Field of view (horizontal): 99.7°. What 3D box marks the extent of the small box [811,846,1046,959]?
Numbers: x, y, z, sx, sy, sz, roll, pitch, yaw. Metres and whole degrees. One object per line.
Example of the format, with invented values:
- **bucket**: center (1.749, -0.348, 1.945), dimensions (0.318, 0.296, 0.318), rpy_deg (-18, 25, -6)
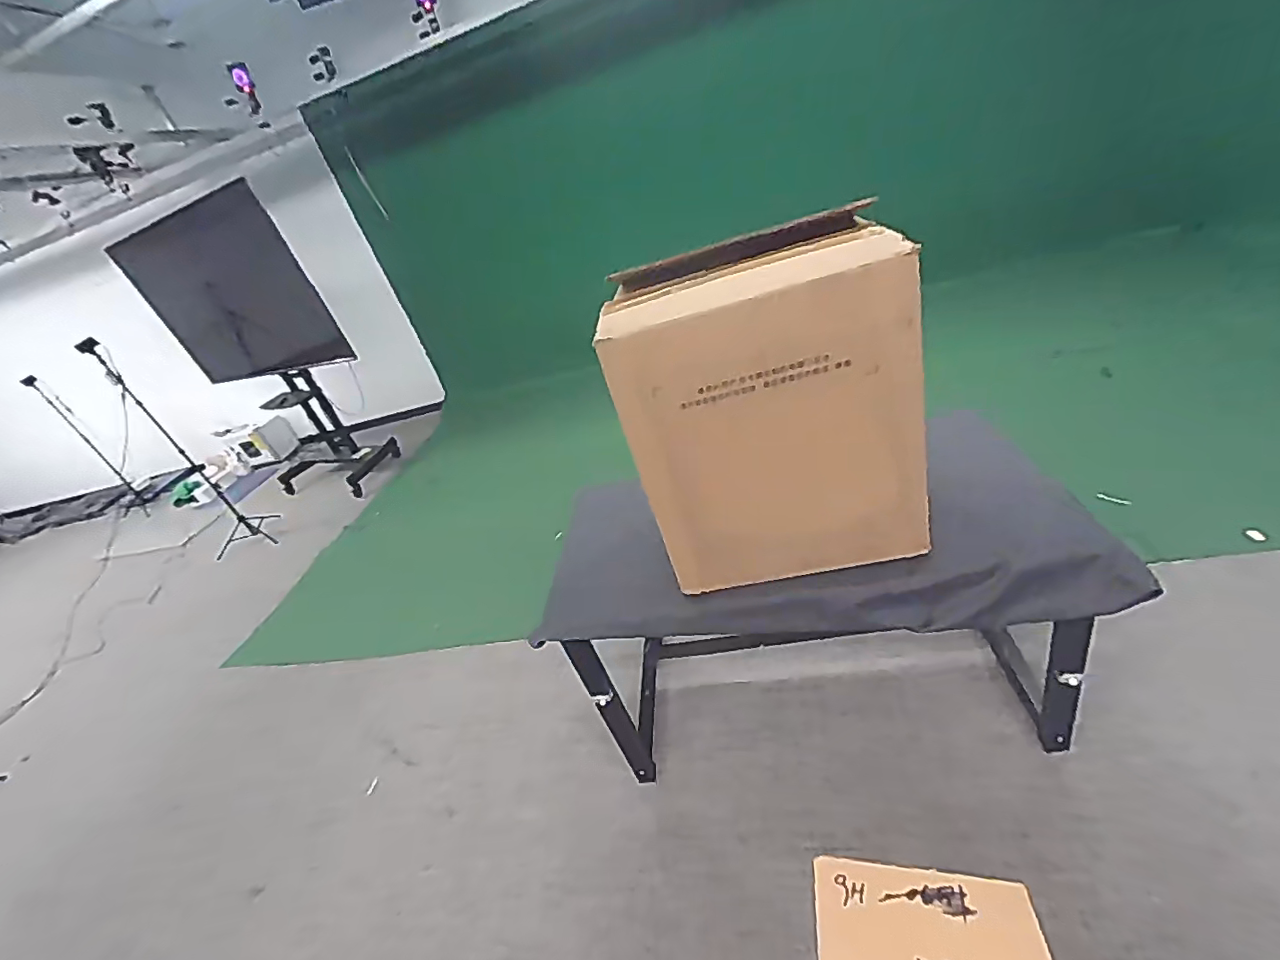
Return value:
- **small box**: center (0.228, 0.440, 0.431), dimensions (0.168, 0.176, 0.179), rpy_deg (-3, 27, 16)
